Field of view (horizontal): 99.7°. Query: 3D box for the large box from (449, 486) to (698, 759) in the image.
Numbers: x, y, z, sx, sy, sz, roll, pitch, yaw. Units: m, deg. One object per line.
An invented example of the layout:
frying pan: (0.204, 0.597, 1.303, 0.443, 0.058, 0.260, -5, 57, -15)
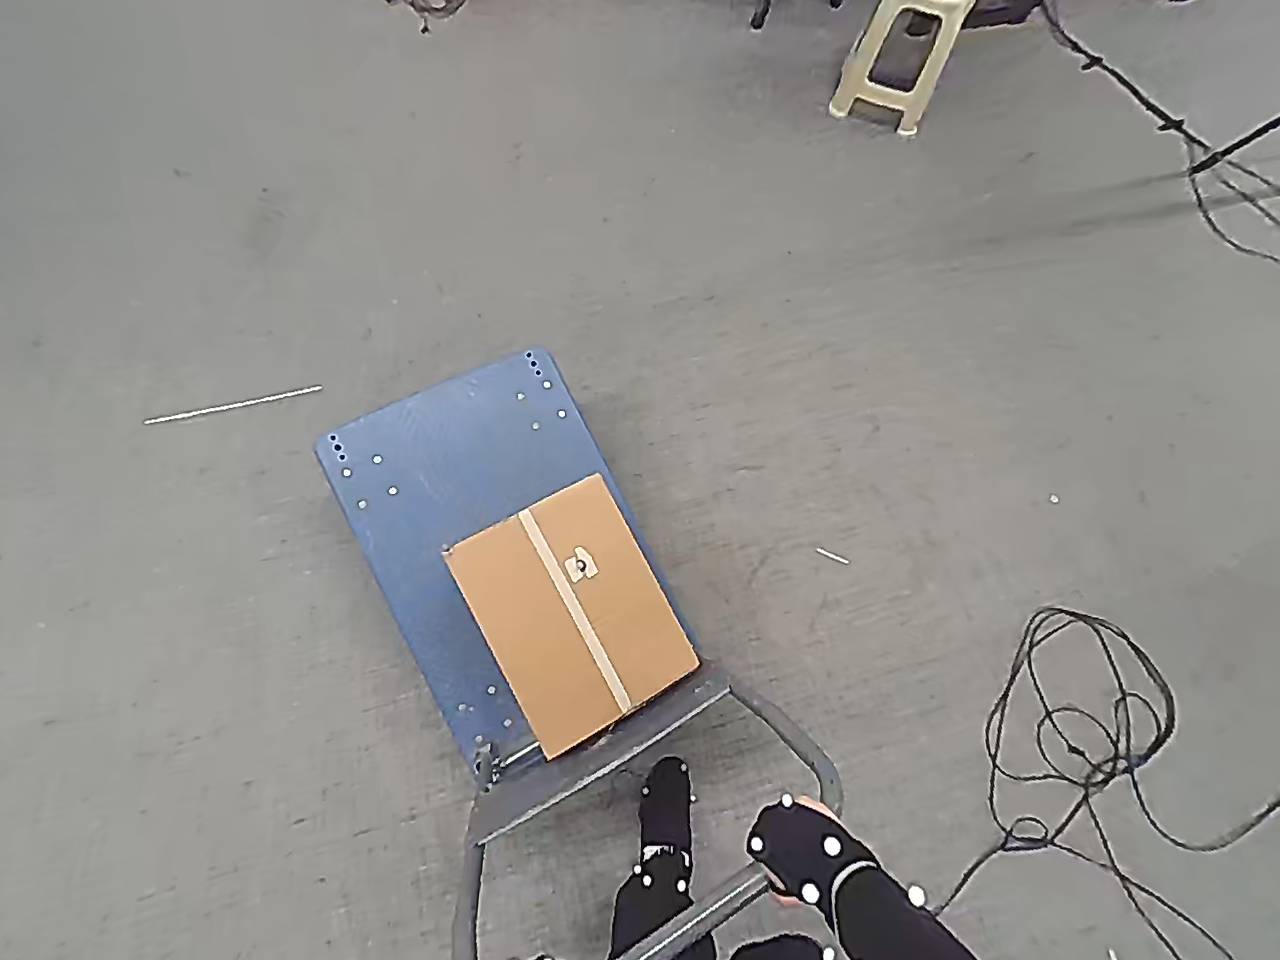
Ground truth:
large box: (-0.138, 0.272, 1.130, 0.320, 0.320, 0.408, -28, 87, -13)
